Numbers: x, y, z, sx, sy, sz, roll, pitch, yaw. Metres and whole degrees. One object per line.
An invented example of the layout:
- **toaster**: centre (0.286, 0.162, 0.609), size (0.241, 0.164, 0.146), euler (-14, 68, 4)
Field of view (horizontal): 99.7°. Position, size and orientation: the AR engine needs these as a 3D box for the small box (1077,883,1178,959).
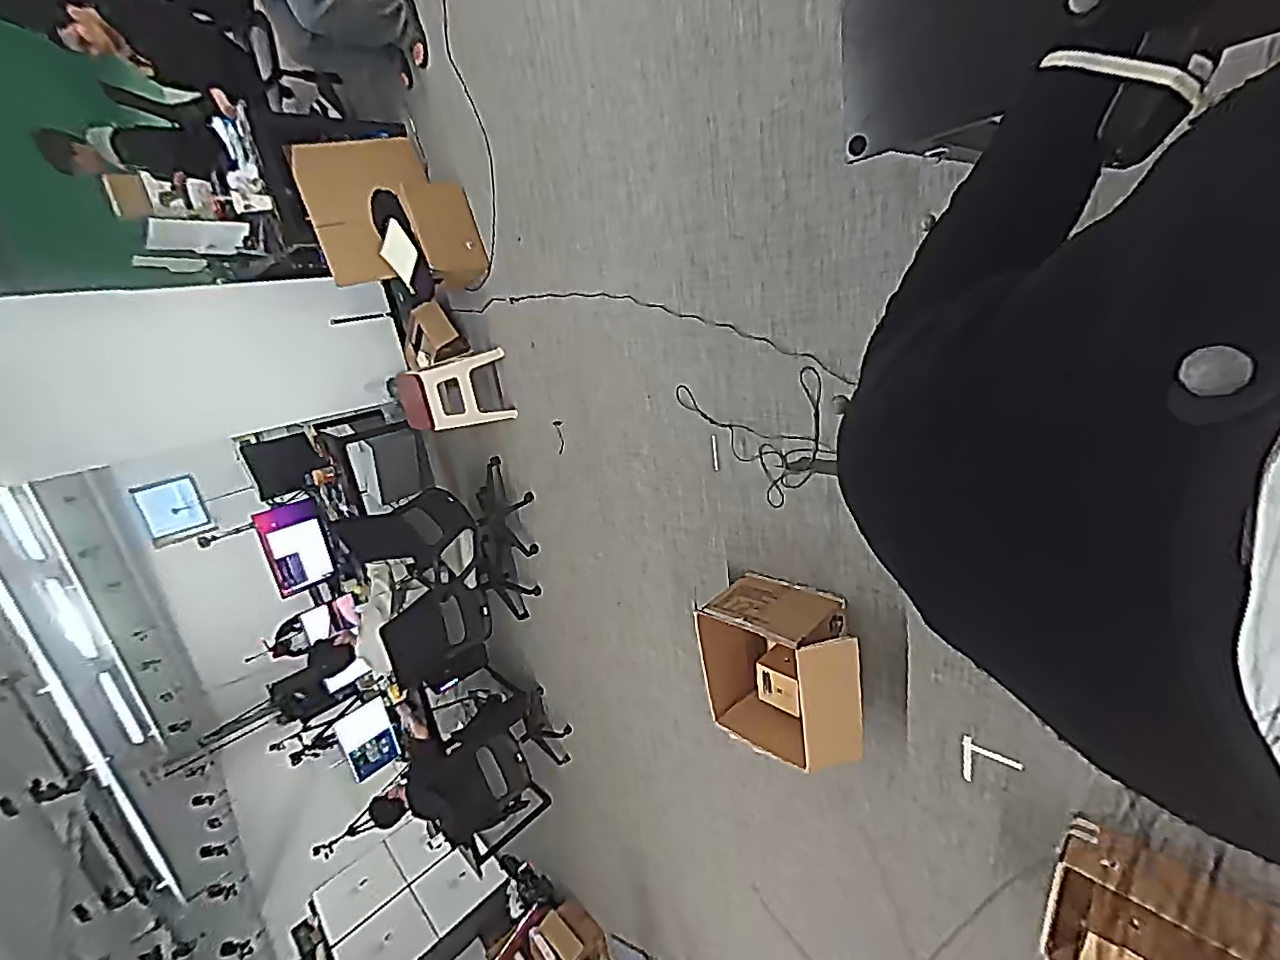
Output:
- **small box**: centre (1.258, 1.207, 1.398), size (0.168, 0.176, 0.179), euler (16, 118, 43)
